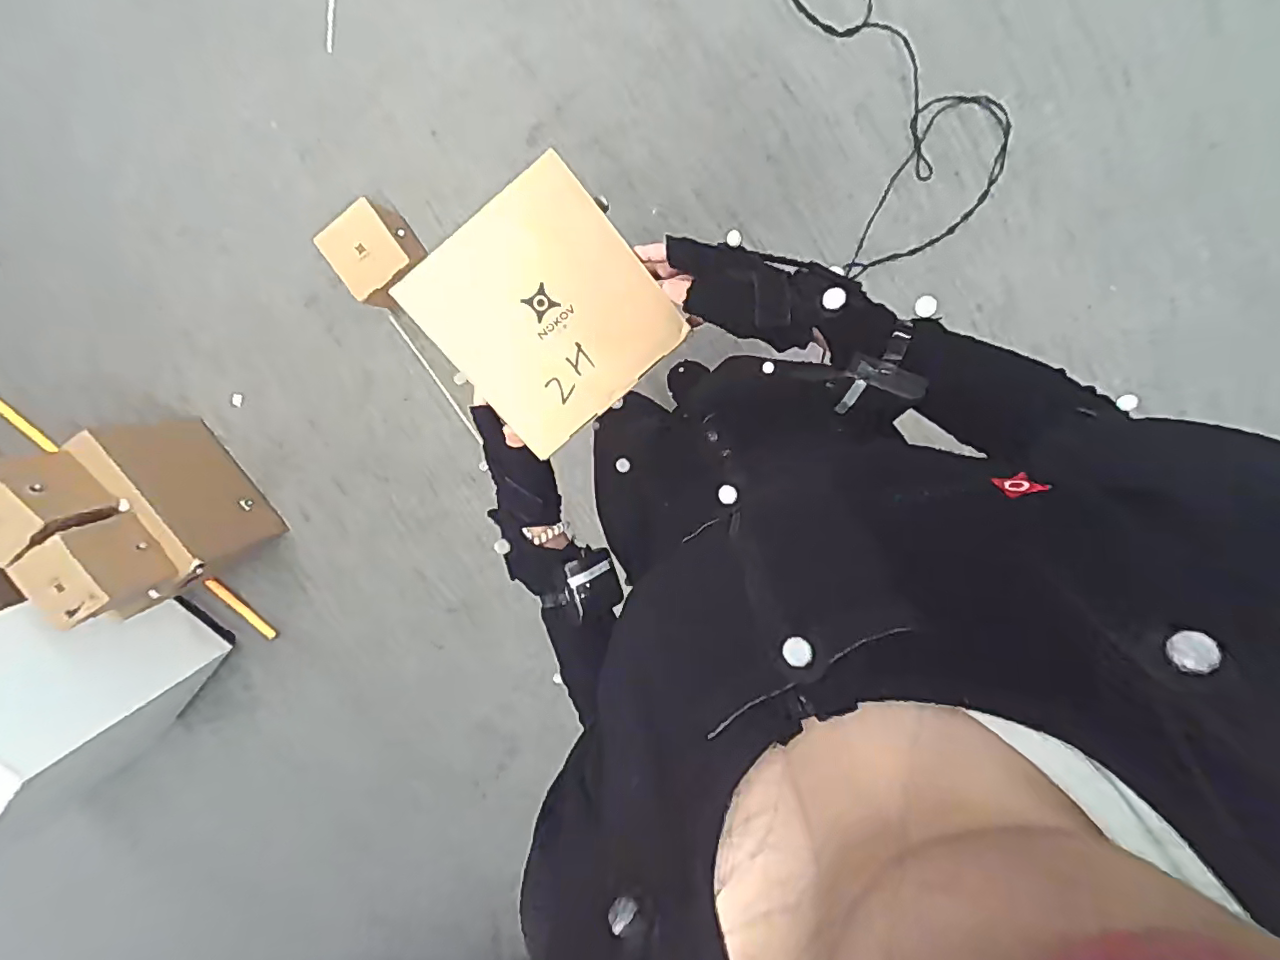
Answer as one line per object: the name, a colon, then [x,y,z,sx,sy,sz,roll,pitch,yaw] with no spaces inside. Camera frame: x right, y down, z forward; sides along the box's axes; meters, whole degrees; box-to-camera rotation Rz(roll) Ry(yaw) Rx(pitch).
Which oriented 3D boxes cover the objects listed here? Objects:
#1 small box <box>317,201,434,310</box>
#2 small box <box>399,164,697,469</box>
small box: [-0.635,-0.539,1.331,0.168,0.176,0.179,-33,99,10]
small box: [-0.077,-0.136,0.499,0.168,0.176,0.179,-39,103,3]
